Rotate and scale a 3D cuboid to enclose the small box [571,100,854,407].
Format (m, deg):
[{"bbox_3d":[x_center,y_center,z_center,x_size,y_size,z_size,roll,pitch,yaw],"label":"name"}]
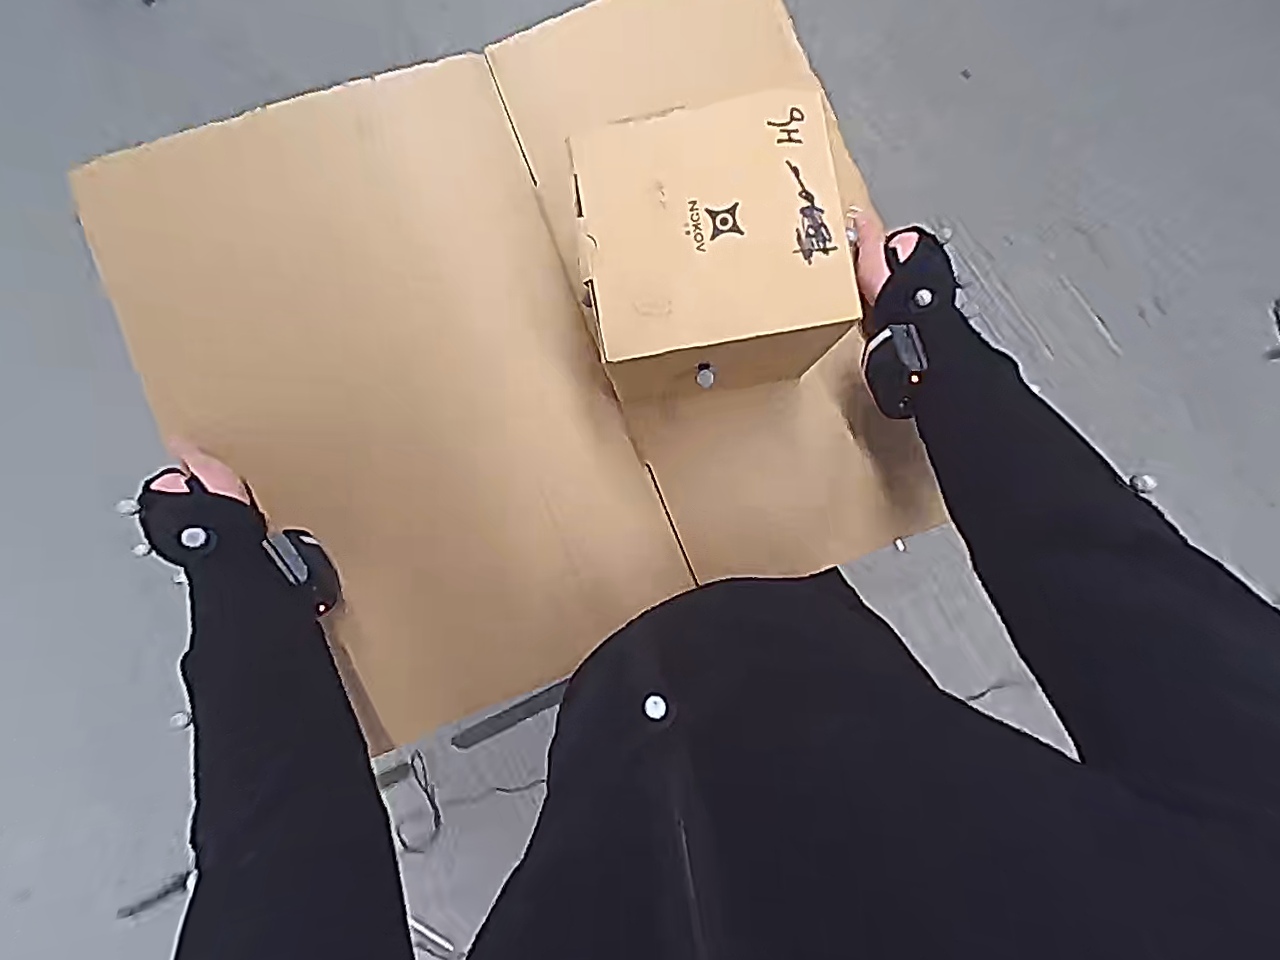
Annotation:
[{"bbox_3d":[0.055,-0.166,0.456,0.179,0.176,0.168,-10,88,4],"label":"small box"}]
